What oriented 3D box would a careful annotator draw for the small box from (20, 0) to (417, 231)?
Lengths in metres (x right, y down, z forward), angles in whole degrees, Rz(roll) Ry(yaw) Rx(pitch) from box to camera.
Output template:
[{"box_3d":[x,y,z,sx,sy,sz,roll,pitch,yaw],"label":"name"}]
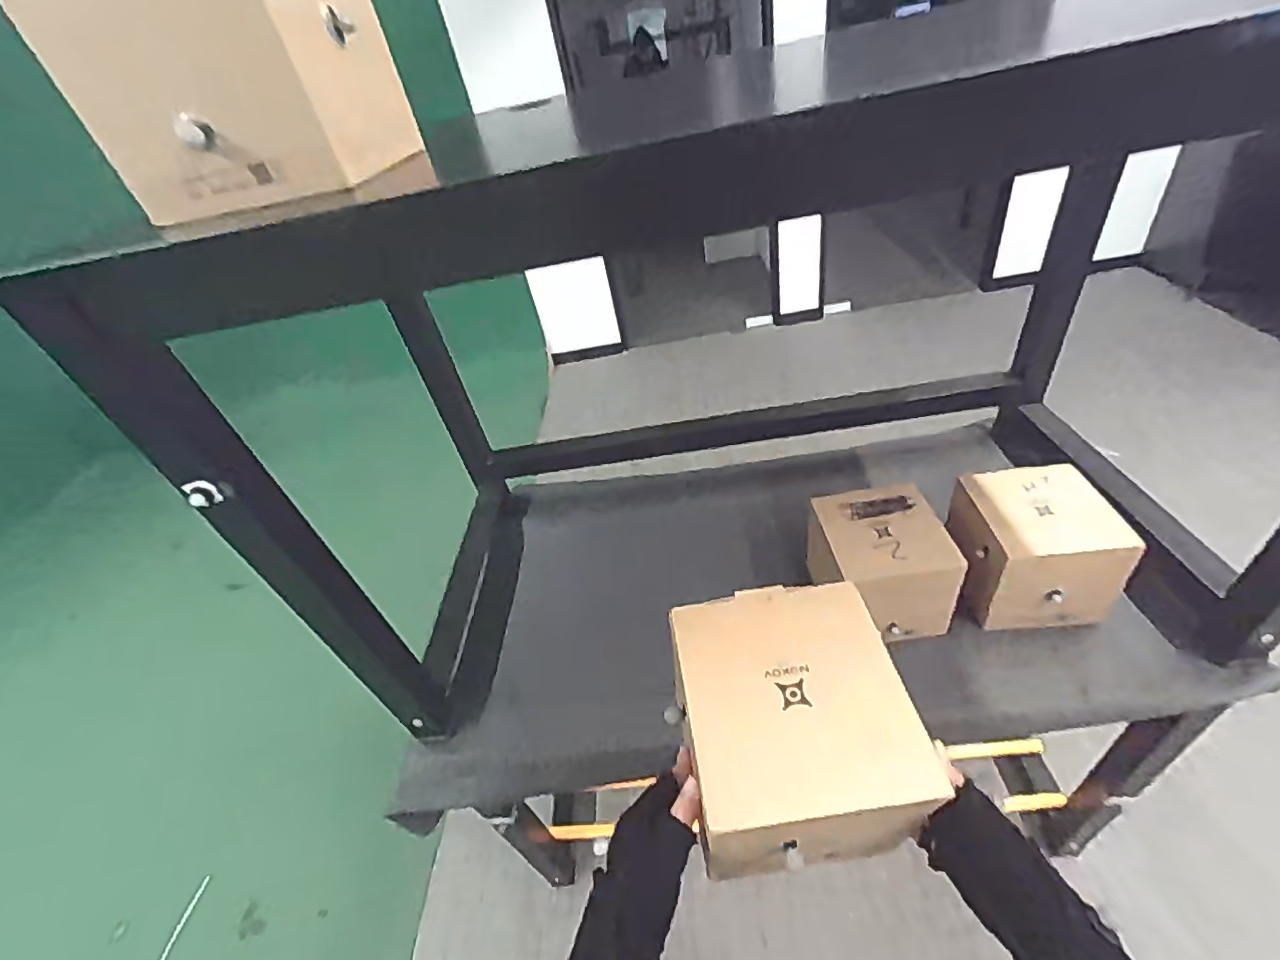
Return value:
[{"box_3d":[-0.304,-0.315,0.429,0.168,0.176,0.179,-8,39,7],"label":"small box"}]
